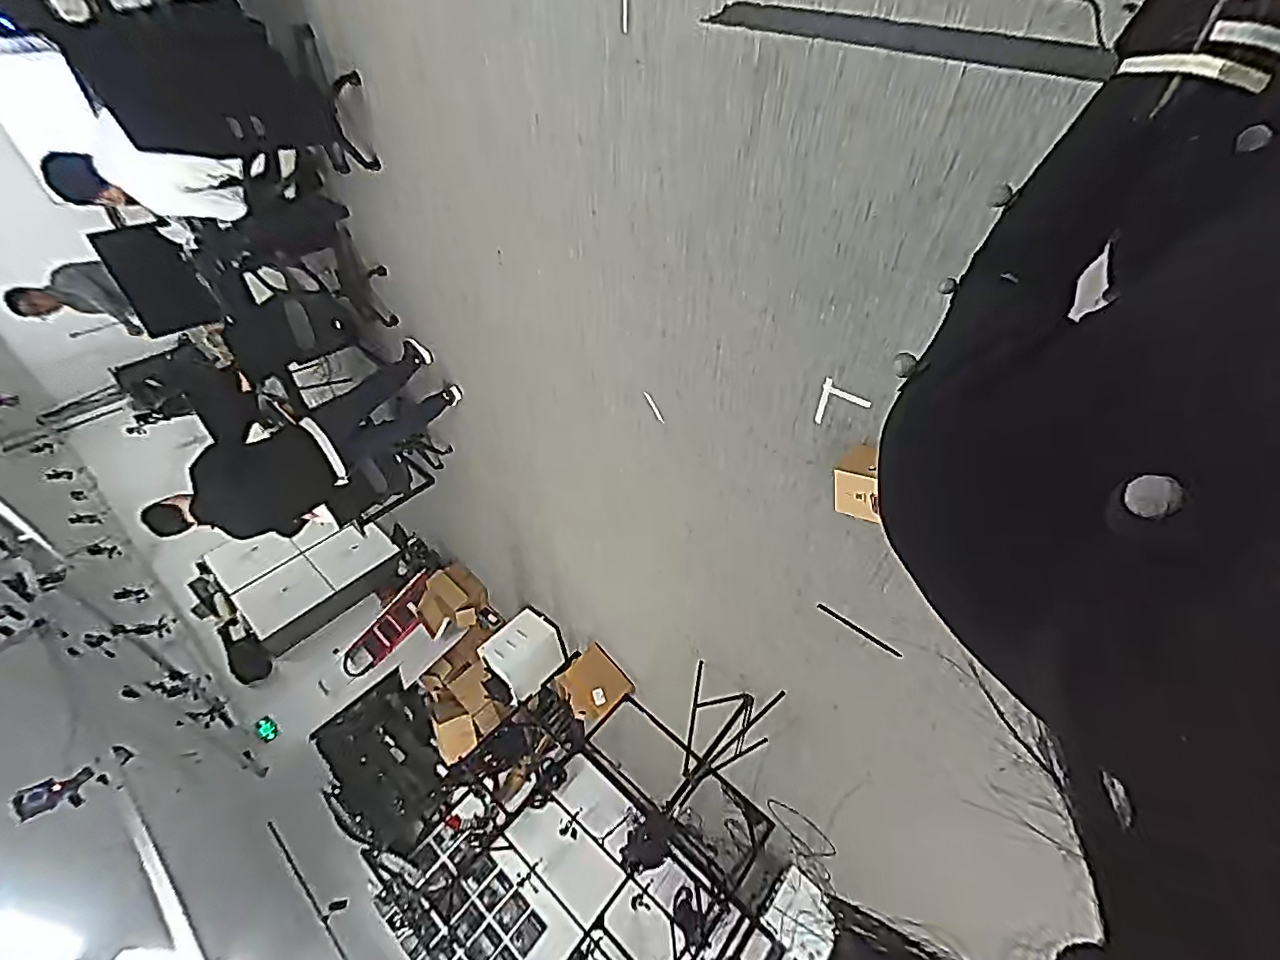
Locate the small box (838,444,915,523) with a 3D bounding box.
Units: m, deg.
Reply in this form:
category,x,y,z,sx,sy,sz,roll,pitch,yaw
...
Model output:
category,x,y,z,sx,sy,sz,roll,pitch,yaw
small box,0.741,0.005,1.695,0.179,0.176,0.168,18,134,41
